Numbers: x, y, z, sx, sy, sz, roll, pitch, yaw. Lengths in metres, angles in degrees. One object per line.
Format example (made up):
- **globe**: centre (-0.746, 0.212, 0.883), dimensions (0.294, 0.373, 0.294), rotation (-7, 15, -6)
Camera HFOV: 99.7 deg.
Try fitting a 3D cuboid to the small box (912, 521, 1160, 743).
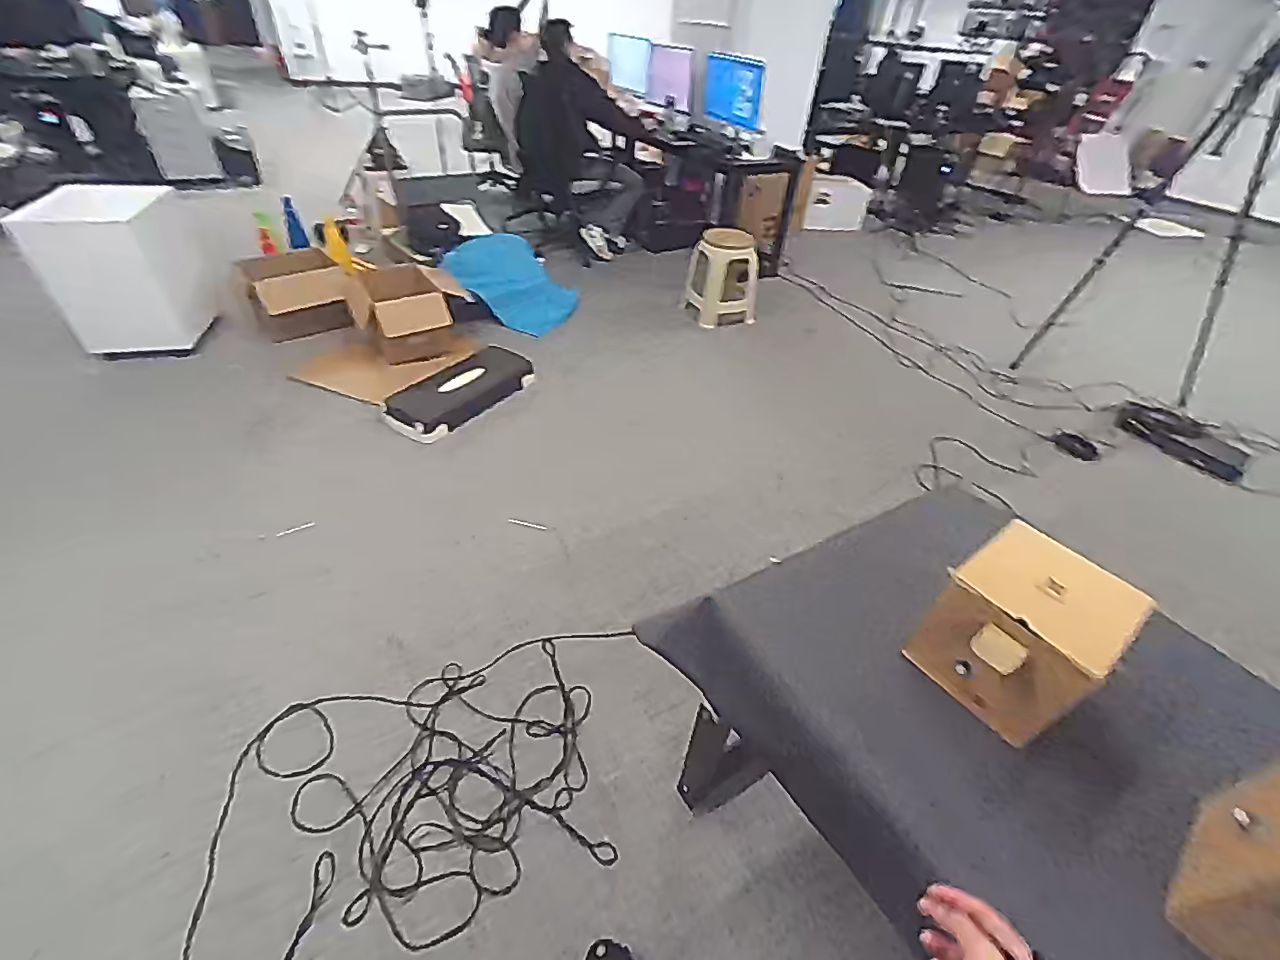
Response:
- **small box**: centre (0.484, 0.189, 0.685), dimensions (0.179, 0.176, 0.168), rotation (-24, 49, -30)
